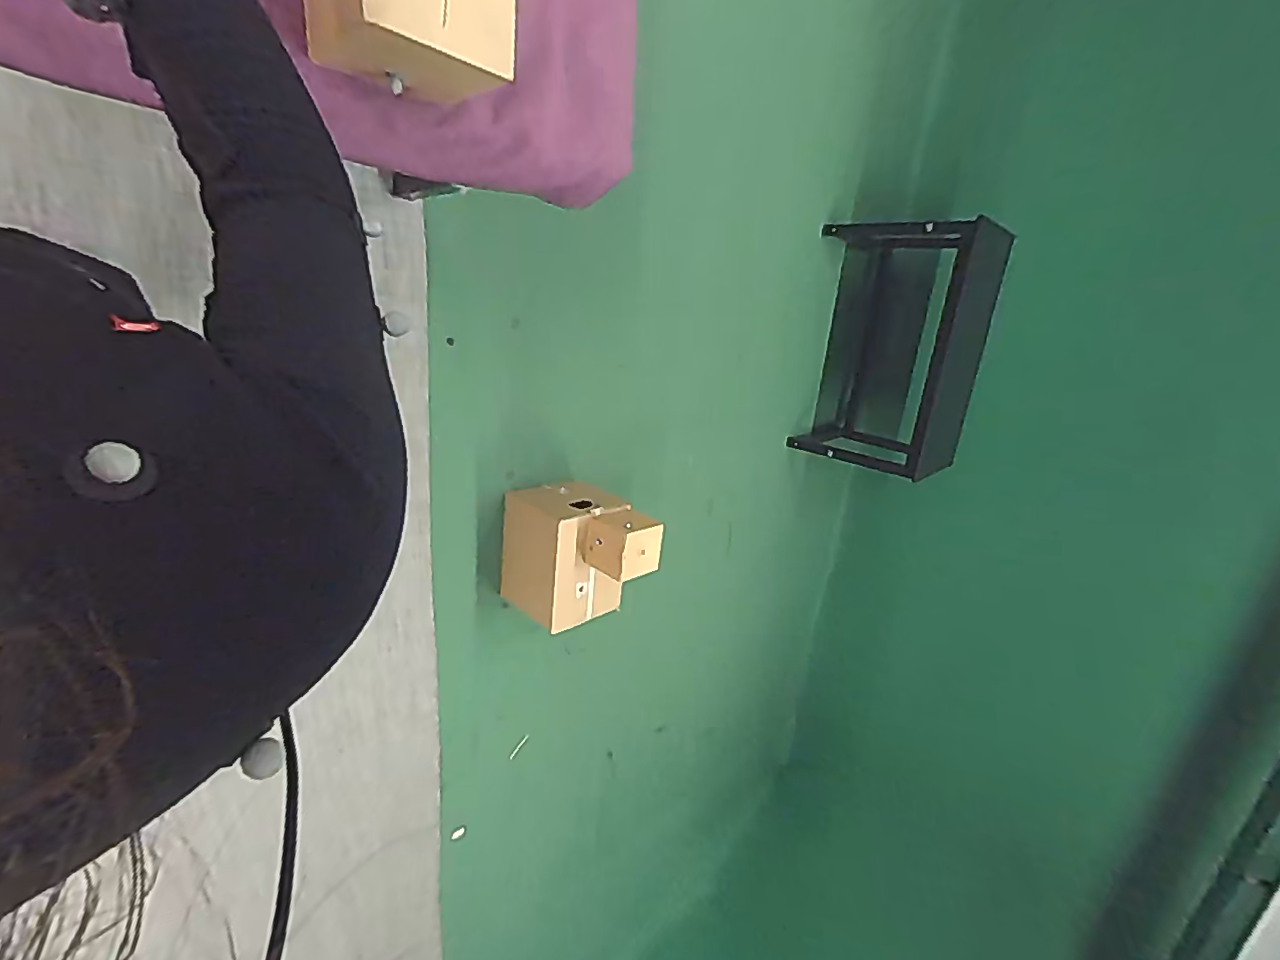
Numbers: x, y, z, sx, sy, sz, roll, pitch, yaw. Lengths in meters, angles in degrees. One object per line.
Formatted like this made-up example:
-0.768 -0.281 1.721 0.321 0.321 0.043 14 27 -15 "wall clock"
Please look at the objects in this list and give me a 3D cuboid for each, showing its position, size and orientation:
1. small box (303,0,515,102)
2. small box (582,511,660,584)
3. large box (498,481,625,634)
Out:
-0.250 -0.543 0.580 0.168 0.176 0.179 -11 114 -44 "small box"
-0.062 0.210 1.746 0.179 0.176 0.168 -10 114 -46 "small box"
-0.282 0.251 1.897 0.320 0.320 0.408 -10 114 -45 "large box"
